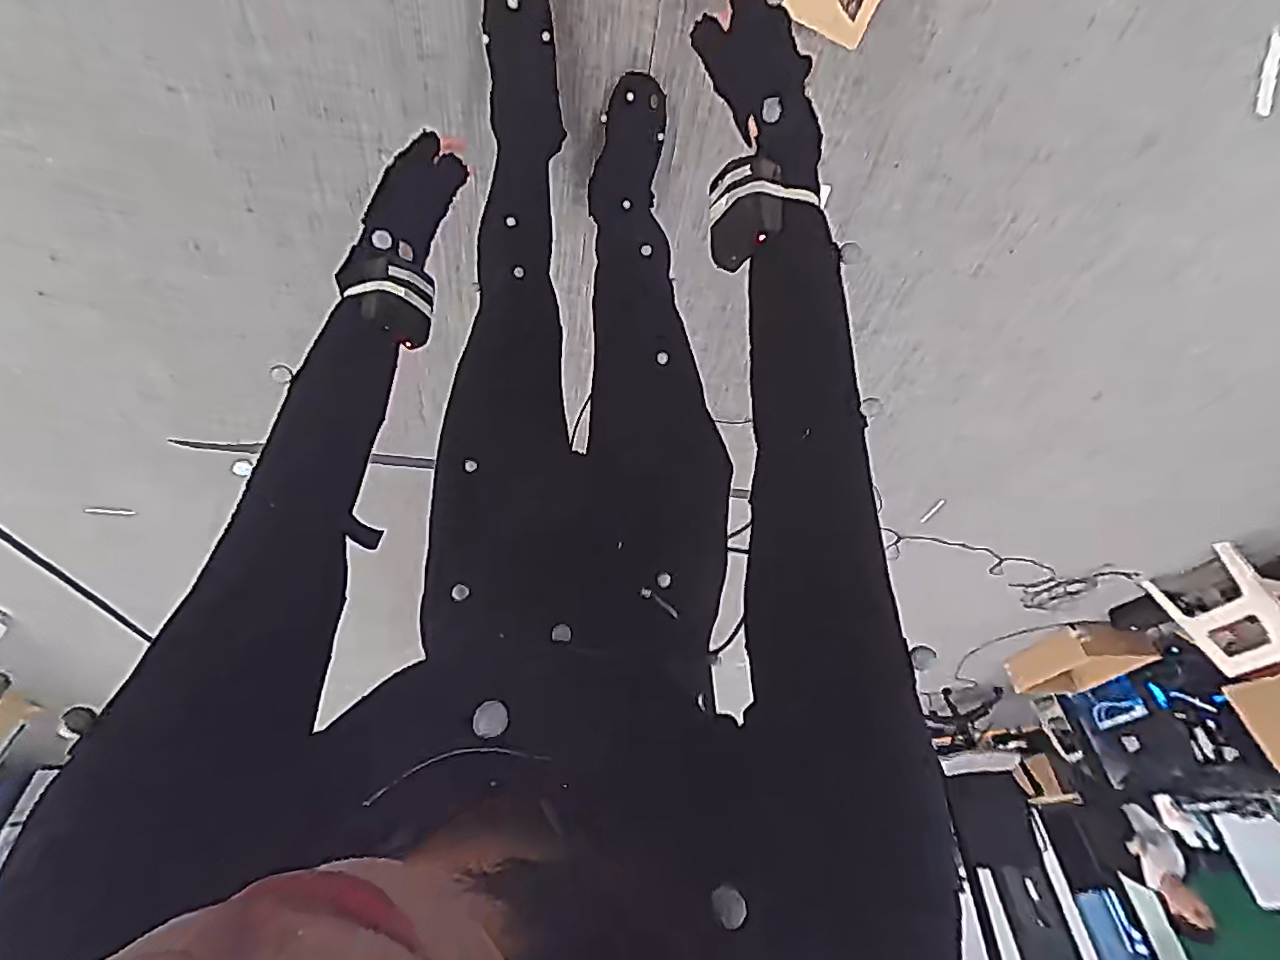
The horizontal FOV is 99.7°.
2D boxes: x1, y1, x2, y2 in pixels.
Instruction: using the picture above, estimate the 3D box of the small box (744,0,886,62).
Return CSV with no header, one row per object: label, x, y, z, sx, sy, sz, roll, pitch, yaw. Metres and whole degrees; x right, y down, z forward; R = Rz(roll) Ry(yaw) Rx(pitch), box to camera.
small box,0.251,-0.729,0.743,0.179,0.176,0.168,13,139,-17
